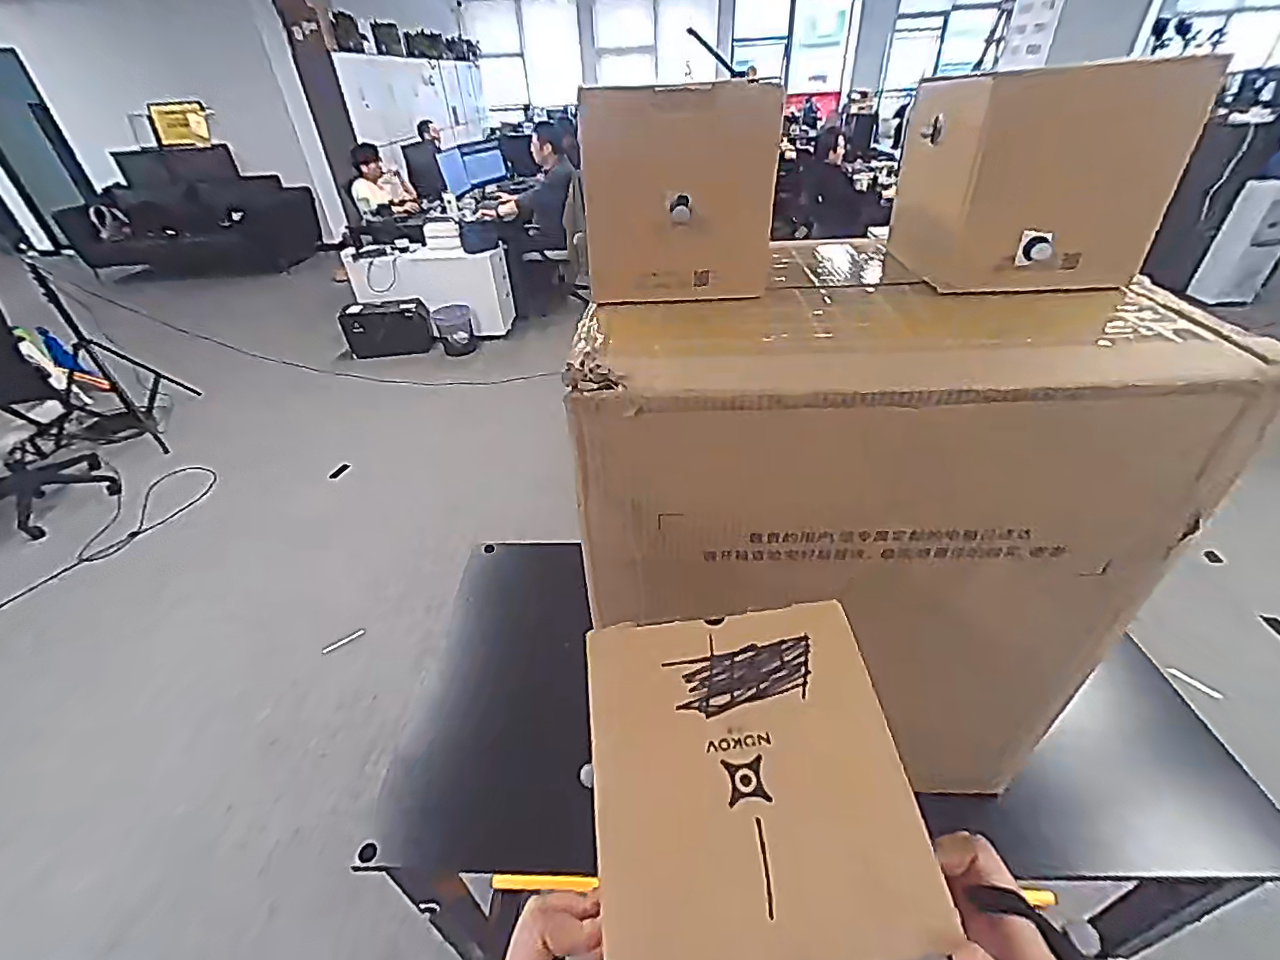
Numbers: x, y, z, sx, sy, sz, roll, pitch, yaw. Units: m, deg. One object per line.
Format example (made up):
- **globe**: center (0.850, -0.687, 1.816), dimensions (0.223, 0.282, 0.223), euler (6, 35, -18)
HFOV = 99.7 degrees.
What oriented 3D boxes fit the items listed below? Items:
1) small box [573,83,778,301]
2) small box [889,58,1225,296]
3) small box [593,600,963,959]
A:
- **small box**: center (0.029, -0.282, 0.534), dimensions (0.168, 0.176, 0.179), euler (-3, 36, -1)
- **small box**: center (0.355, -0.283, 0.513), dimensions (0.168, 0.176, 0.179), euler (-2, 36, 6)
- **small box**: center (0.061, 0.204, 0.356), dimensions (0.168, 0.176, 0.179), euler (-7, 49, -2)
